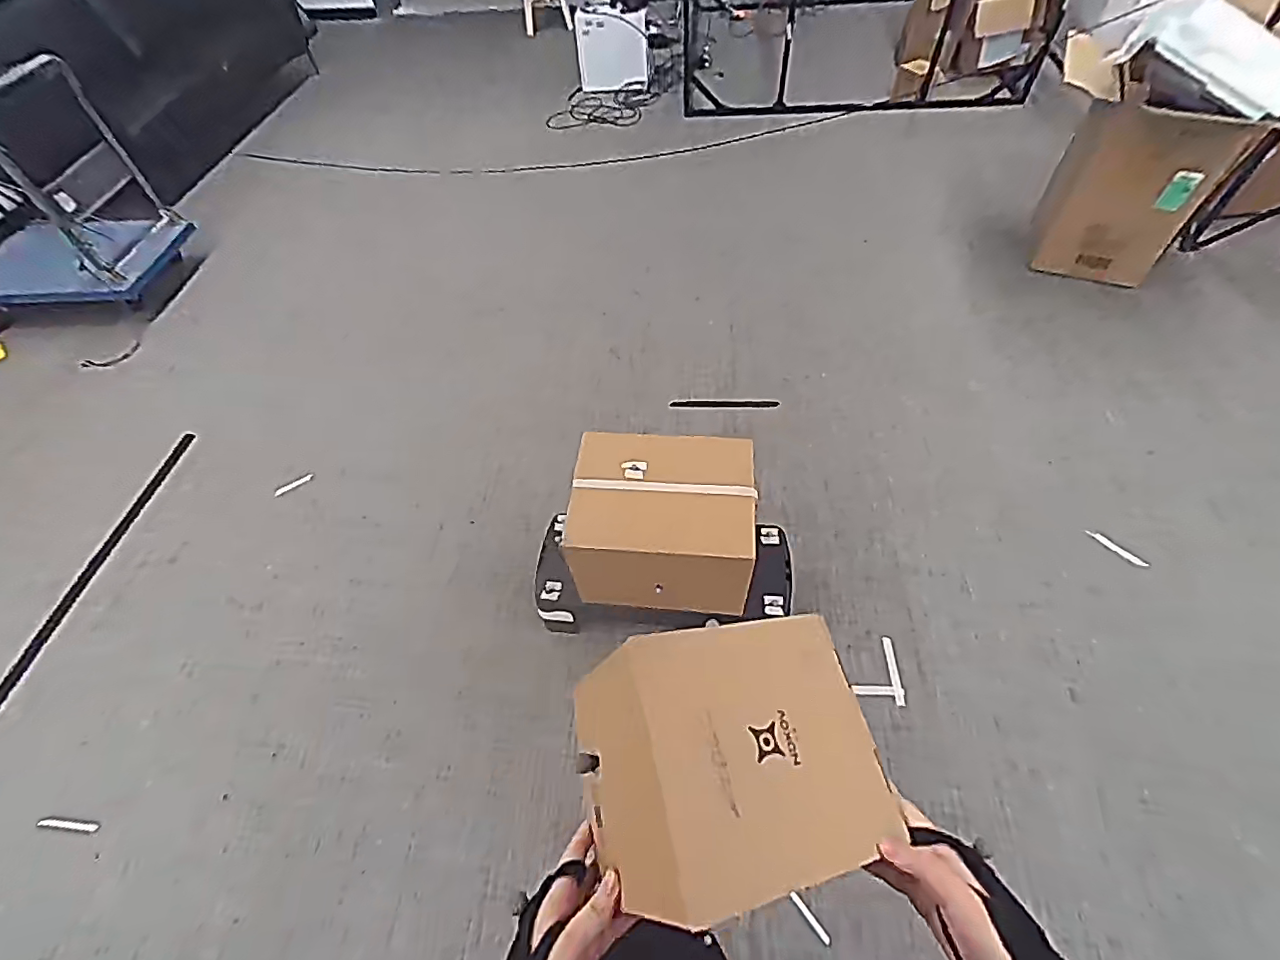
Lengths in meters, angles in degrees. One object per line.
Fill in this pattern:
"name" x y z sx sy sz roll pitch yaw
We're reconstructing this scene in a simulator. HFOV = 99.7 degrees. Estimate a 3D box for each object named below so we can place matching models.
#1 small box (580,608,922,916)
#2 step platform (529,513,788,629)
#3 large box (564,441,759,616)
"small box" 0.066 0.211 0.425 0.179 0.176 0.168 1 57 -23
"step platform" 0.051 0.282 1.476 0.684 0.204 0.286 6 55 10
"large box" 0.066 0.122 1.295 0.408 0.320 0.320 2 54 7
